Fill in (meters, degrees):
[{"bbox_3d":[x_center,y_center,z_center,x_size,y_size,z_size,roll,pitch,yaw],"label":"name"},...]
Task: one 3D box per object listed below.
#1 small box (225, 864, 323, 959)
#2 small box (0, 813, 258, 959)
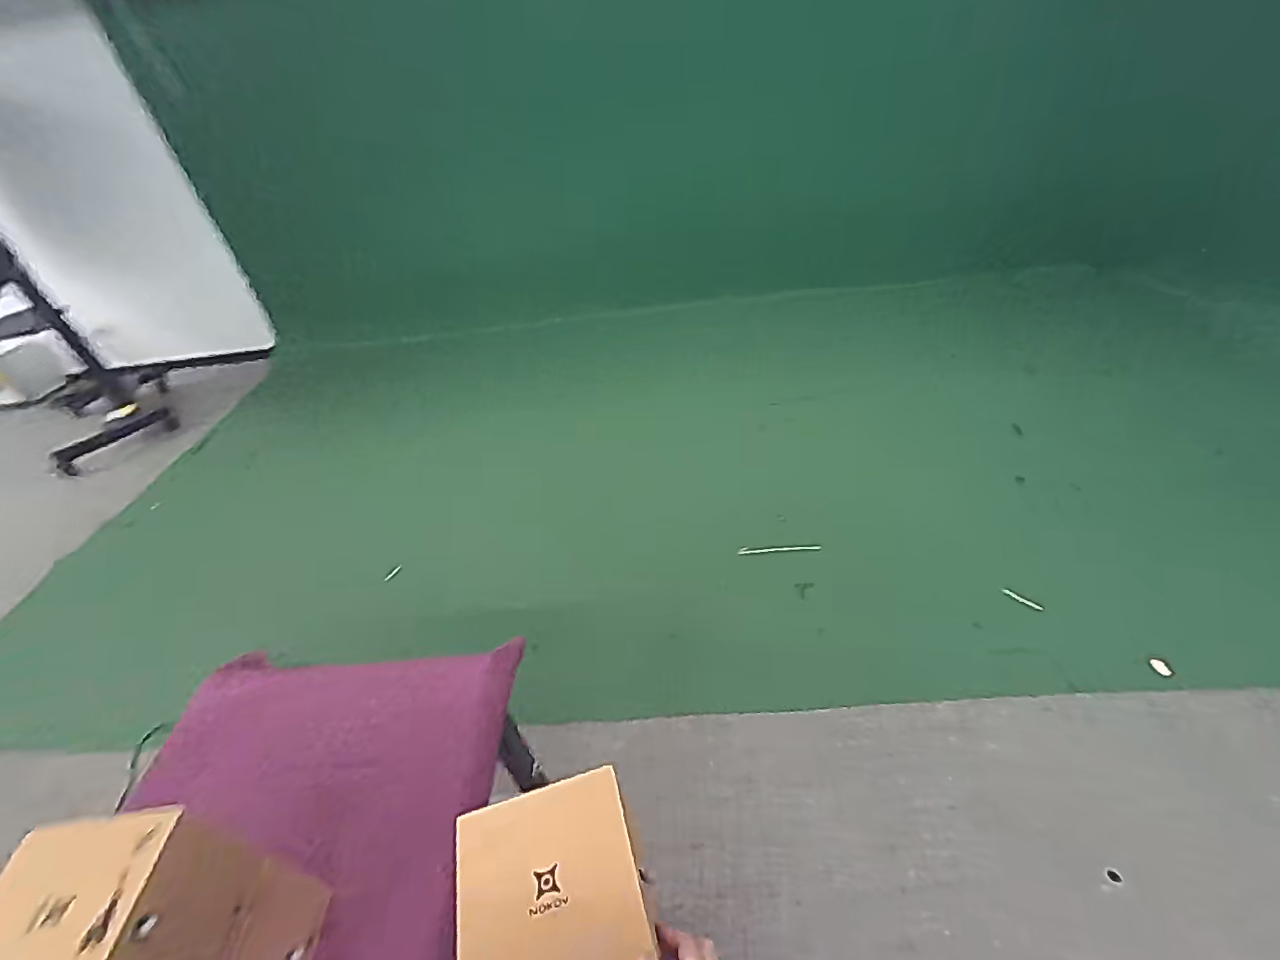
[{"bbox_3d":[-0.541,0.607,0.669,0.179,0.176,0.168,-8,40,1],"label":"small box"},{"bbox_3d":[-0.561,0.480,0.565,0.179,0.176,0.168,-9,40,1],"label":"small box"}]
